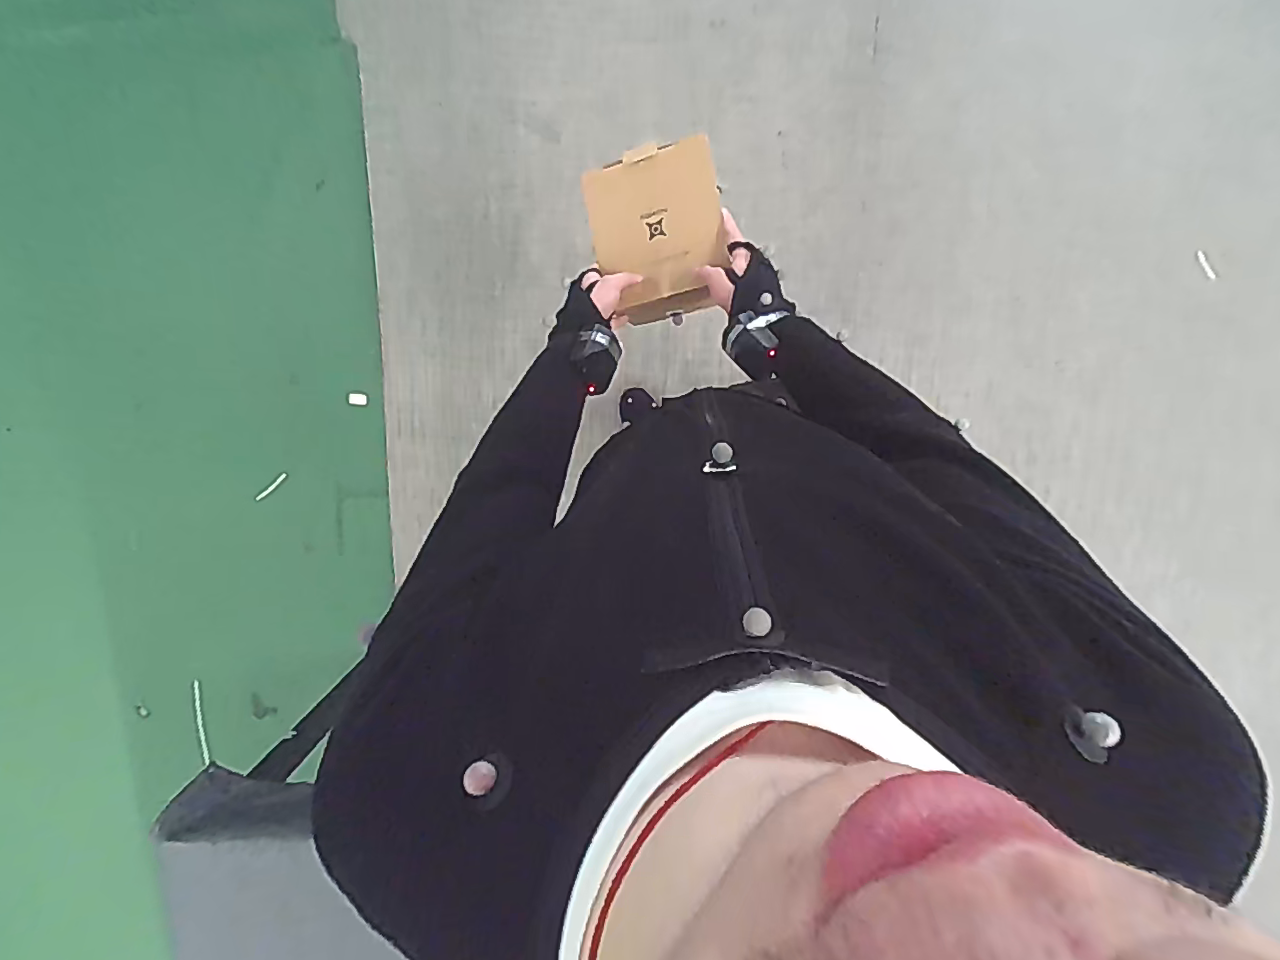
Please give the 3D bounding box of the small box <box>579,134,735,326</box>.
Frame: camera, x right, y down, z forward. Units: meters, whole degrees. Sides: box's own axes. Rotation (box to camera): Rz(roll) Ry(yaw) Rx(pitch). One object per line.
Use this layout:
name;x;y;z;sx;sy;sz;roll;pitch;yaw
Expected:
small box;0.033;-0.322;0.736;0.168;0.176;0.179;-9;97;15
